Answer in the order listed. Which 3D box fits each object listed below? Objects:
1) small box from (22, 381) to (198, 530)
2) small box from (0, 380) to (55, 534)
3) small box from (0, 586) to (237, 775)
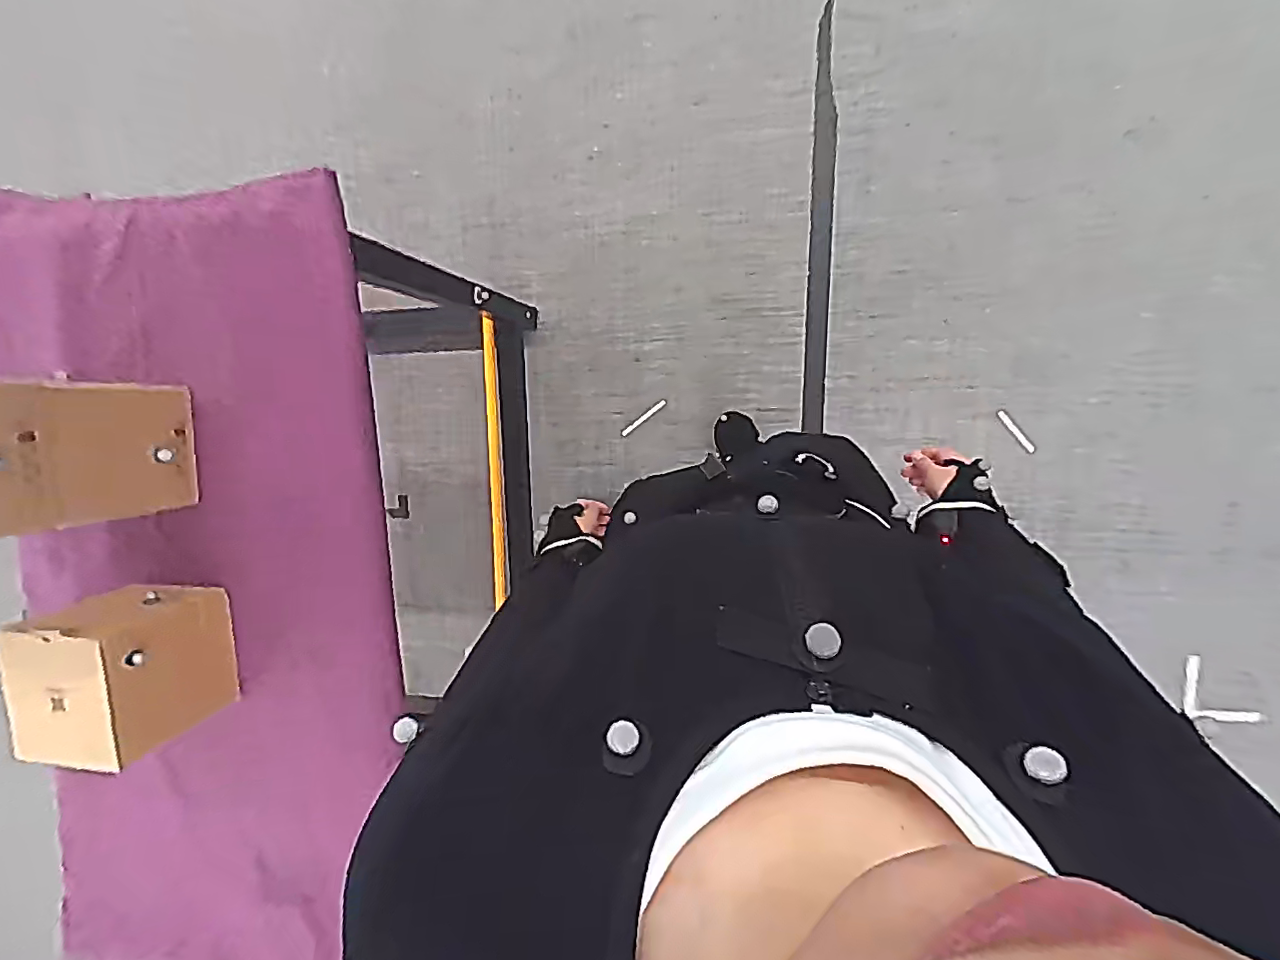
[{"bbox_3d":[-0.722,-0.040,0.694,0.179,0.176,0.168,4,99,9],"label":"small box"},{"bbox_3d":[-0.751,-0.020,0.532,0.179,0.176,0.168,3,100,9],"label":"small box"},{"bbox_3d":[-0.690,0.259,0.733,0.168,0.176,0.179,0,98,11],"label":"small box"}]
